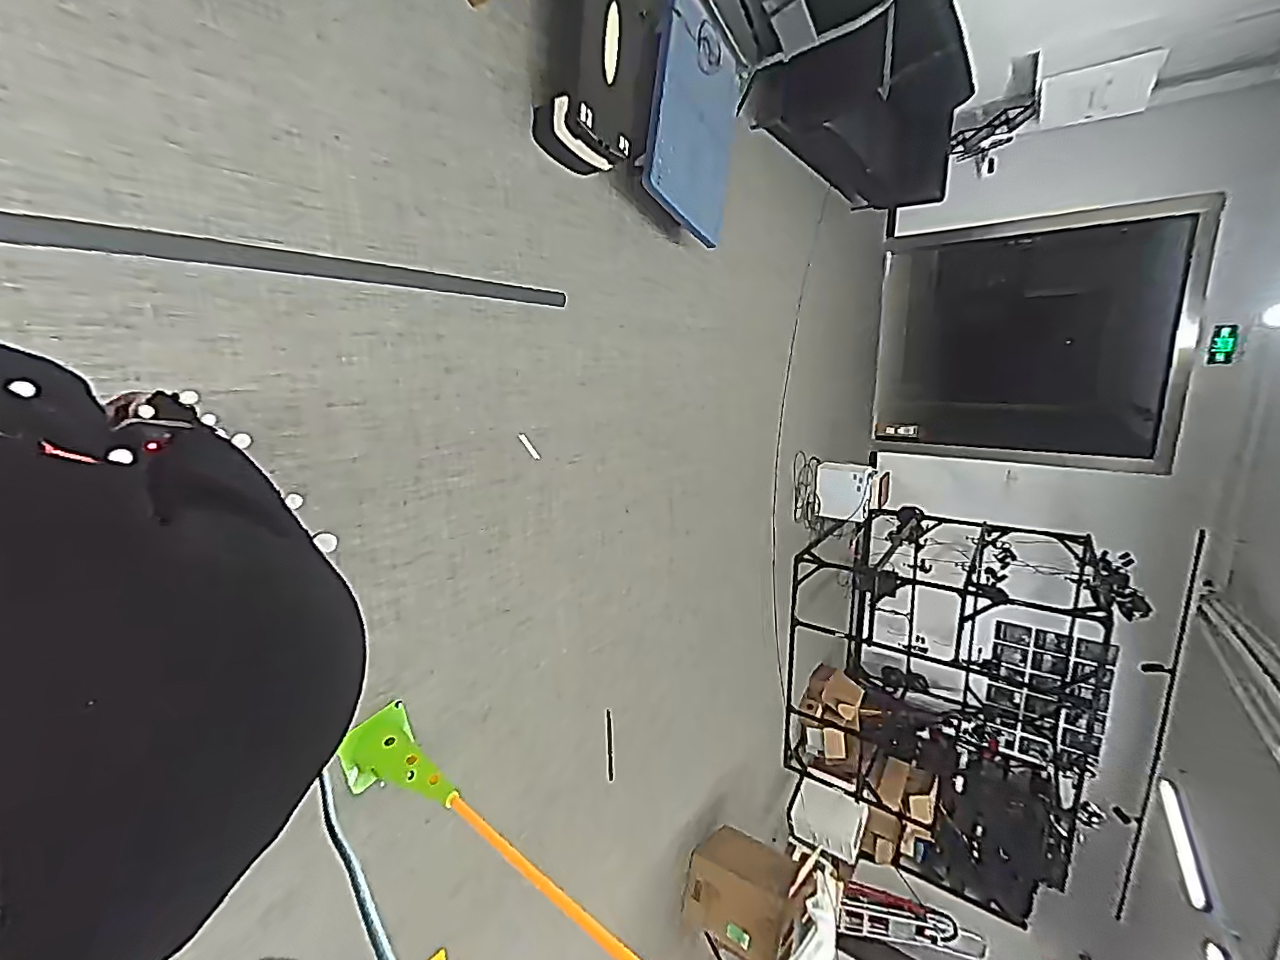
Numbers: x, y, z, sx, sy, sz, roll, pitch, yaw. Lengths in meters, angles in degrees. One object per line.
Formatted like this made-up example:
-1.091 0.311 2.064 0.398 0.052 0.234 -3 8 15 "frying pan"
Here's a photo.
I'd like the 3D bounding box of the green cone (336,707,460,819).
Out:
-0.617 0.804 1.455 0.200 0.368 0.202 -31 122 -49 "green cone"
